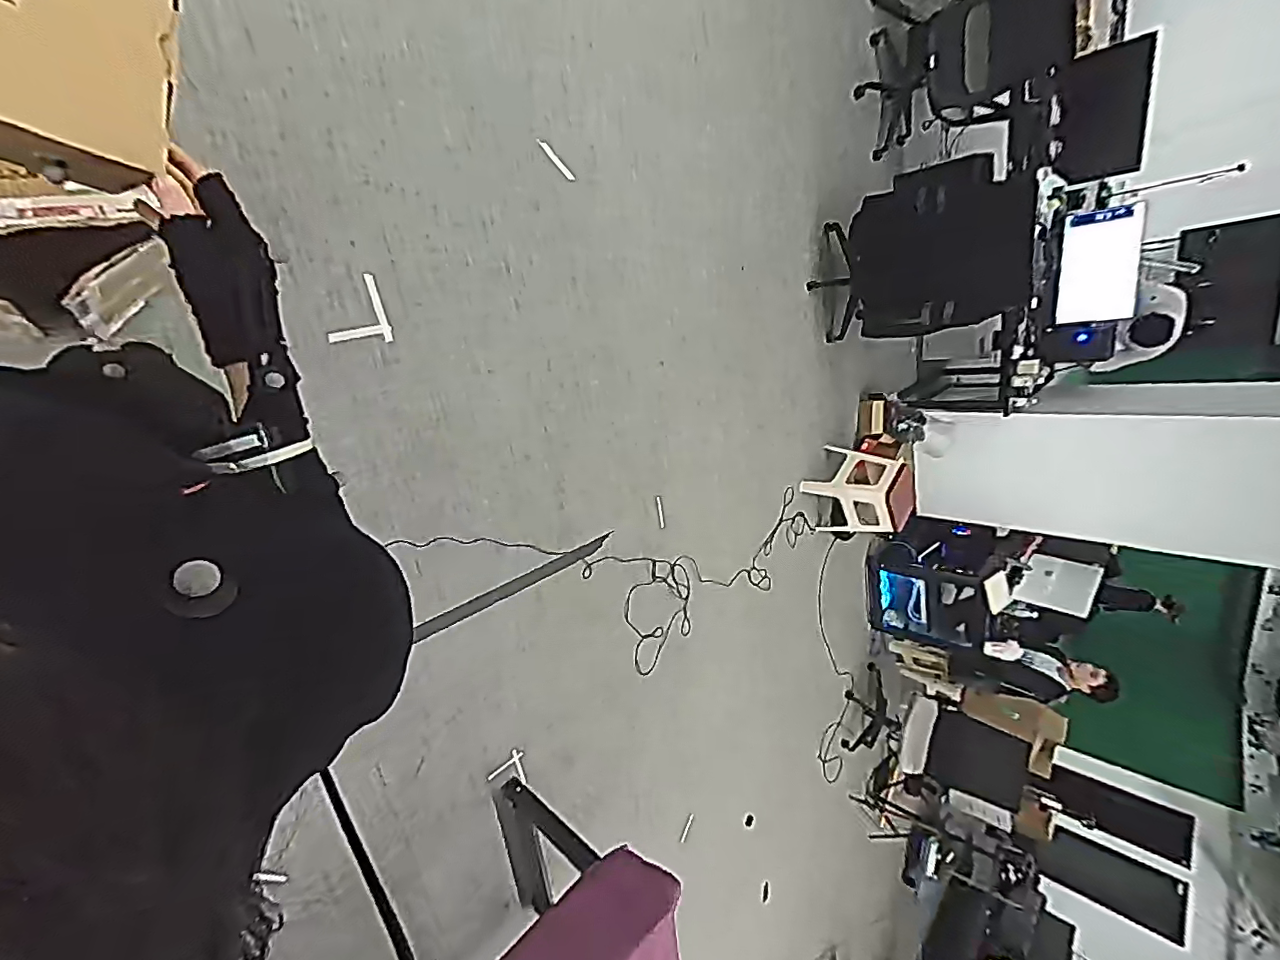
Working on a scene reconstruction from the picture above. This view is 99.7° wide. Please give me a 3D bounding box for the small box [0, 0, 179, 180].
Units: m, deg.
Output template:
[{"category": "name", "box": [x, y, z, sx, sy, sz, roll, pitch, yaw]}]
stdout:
[{"category": "small box", "box": [-0.418, -0.304, 0.329, 0.179, 0.176, 0.168, 0, 103, -54]}]
